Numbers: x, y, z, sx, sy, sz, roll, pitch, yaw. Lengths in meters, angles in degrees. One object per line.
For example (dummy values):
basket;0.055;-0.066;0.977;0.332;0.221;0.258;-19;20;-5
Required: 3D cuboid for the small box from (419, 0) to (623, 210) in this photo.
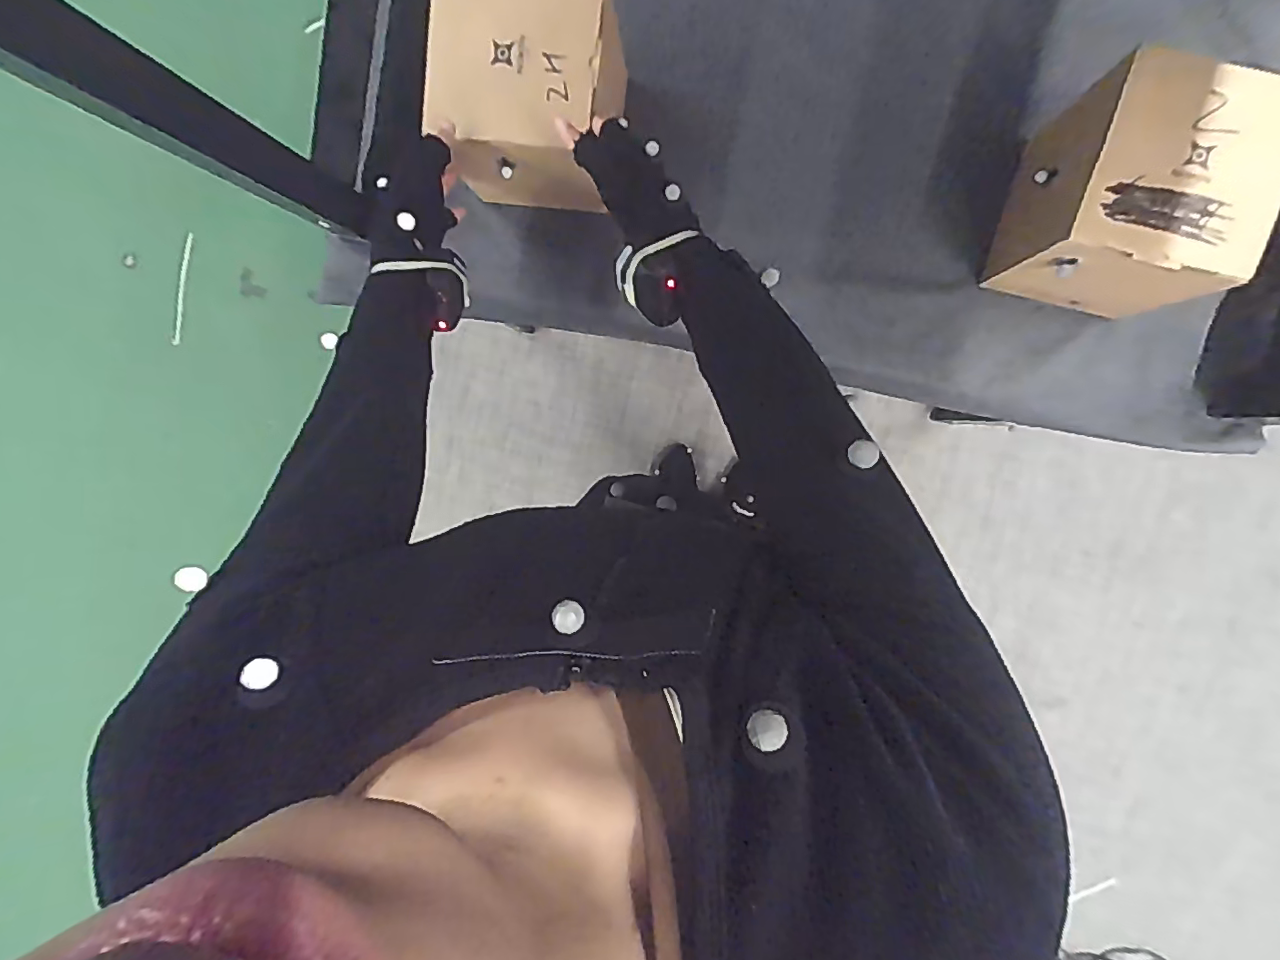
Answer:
small box;-0.124;-0.428;0.617;0.179;0.176;0.168;8;98;4
